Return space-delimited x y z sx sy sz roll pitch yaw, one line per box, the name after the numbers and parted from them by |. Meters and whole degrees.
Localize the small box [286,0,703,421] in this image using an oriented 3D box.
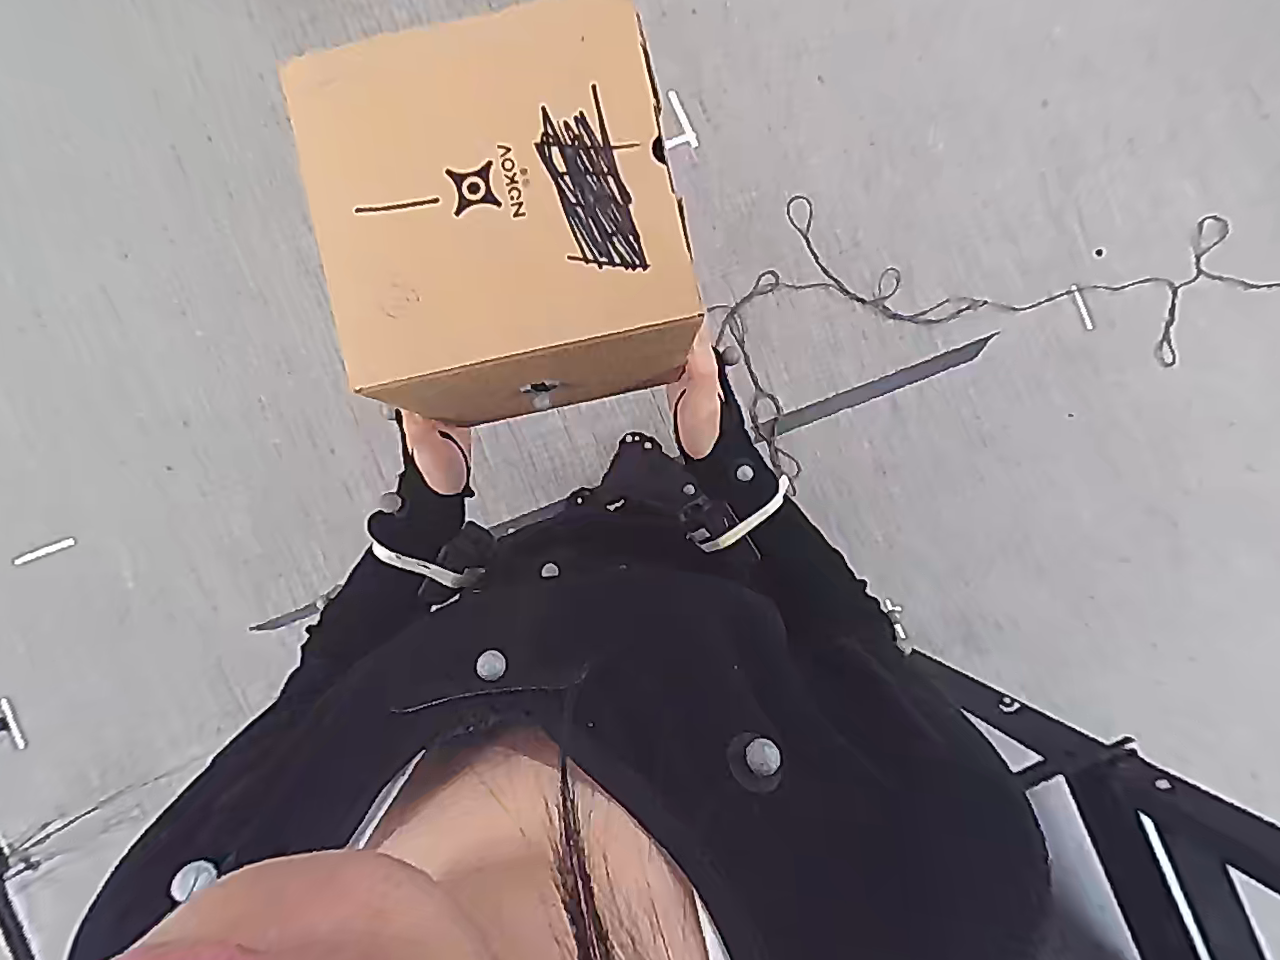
-0.070 -0.139 0.340 0.179 0.176 0.168 -12 90 1 | small box
